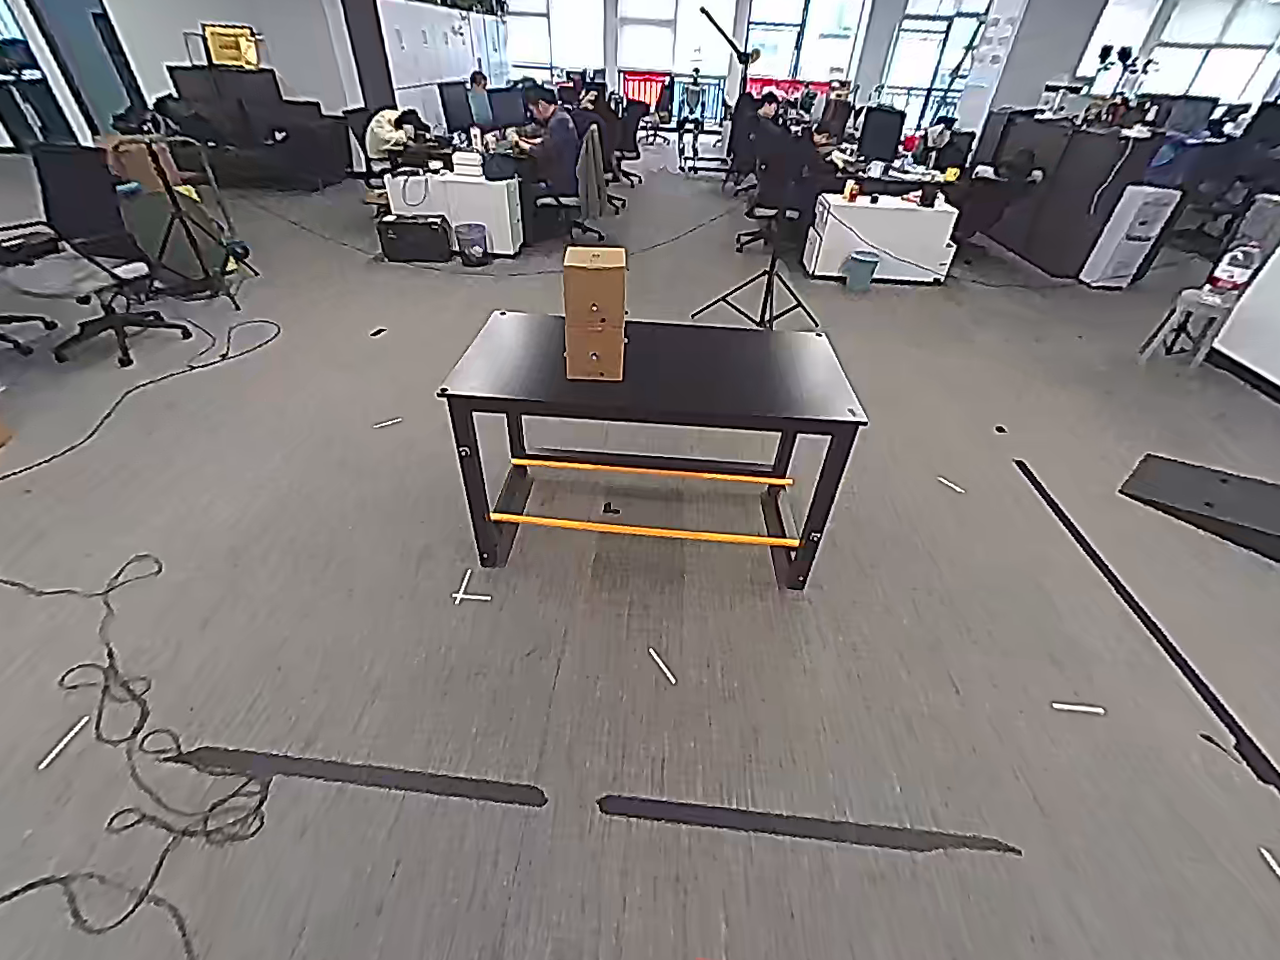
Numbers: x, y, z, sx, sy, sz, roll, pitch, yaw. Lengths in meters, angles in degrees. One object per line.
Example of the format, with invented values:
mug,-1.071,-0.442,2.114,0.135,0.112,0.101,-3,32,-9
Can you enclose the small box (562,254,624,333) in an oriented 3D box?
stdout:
small box,-0.130,-0.534,1.544,0.168,0.176,0.179,0,38,-2

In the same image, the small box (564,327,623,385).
small box,-0.136,-0.401,1.644,0.168,0.176,0.179,1,38,-2
